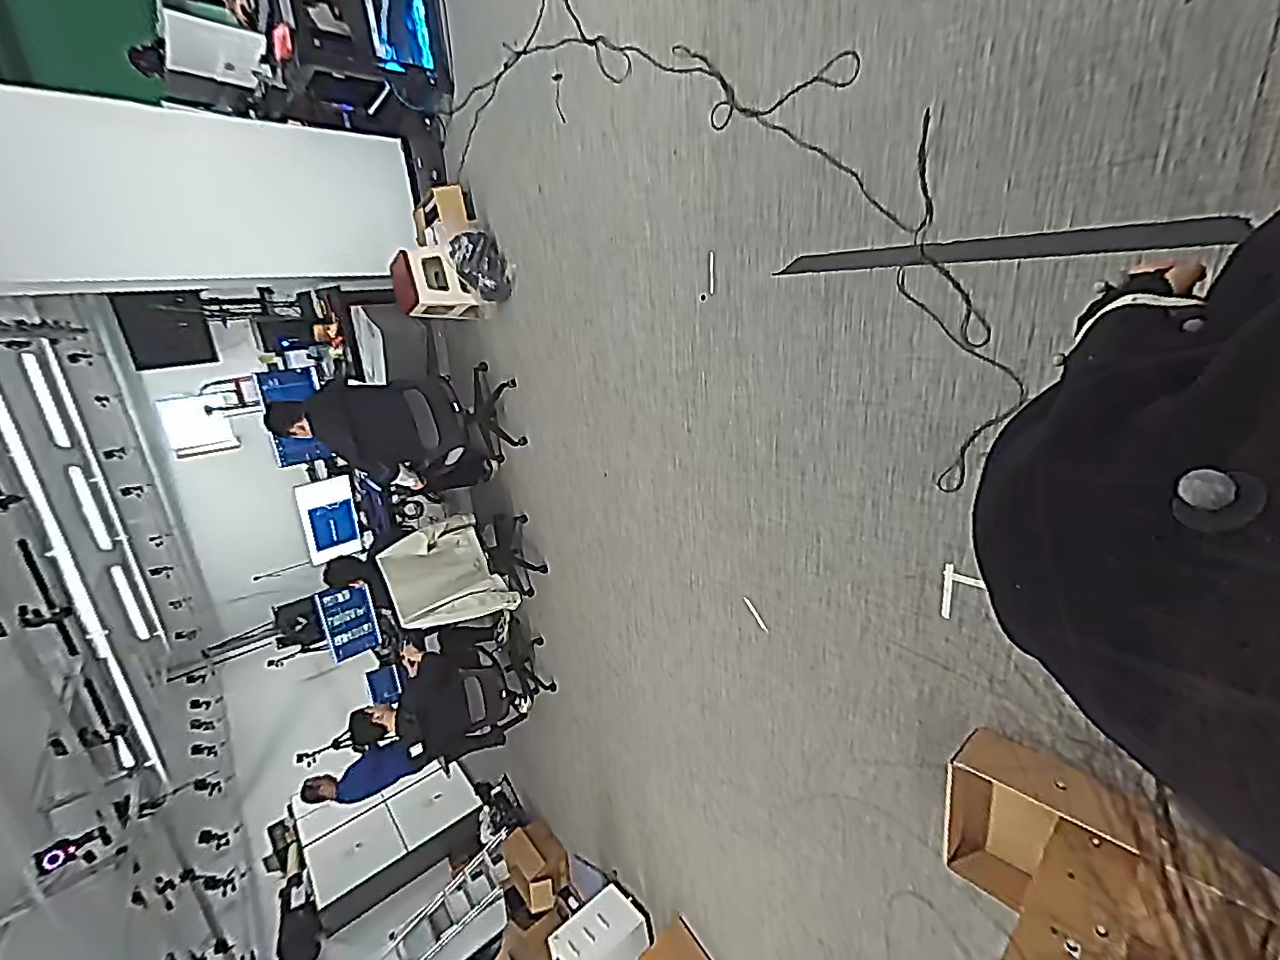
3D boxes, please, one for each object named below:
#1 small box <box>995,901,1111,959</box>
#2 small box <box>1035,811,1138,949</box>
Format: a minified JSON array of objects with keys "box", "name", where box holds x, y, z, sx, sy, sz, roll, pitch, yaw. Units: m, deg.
[{"box":[0.865,1.058,1.134,0.168,0.176,0.179,8,111,49],"name":"small box"},{"box":[1.106,0.979,1.340,0.168,0.176,0.179,9,112,49],"name":"small box"}]
